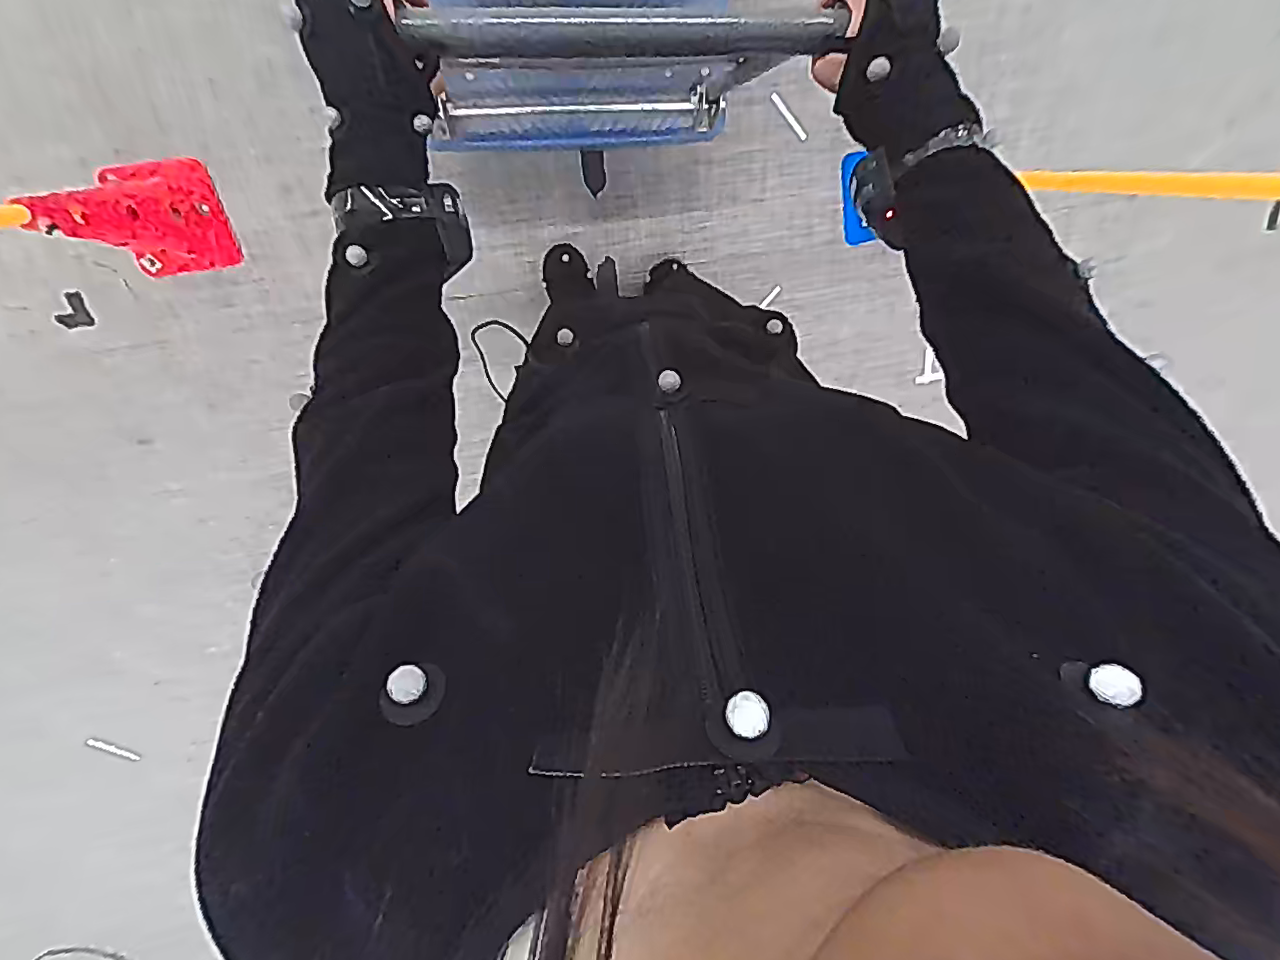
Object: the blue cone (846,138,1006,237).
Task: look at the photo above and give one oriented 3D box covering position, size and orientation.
[{"bbox_3d":[0.608,-0.625,1.133,0.193,0.380,0.192,-14,114,-4],"label":"blue cone"}]
